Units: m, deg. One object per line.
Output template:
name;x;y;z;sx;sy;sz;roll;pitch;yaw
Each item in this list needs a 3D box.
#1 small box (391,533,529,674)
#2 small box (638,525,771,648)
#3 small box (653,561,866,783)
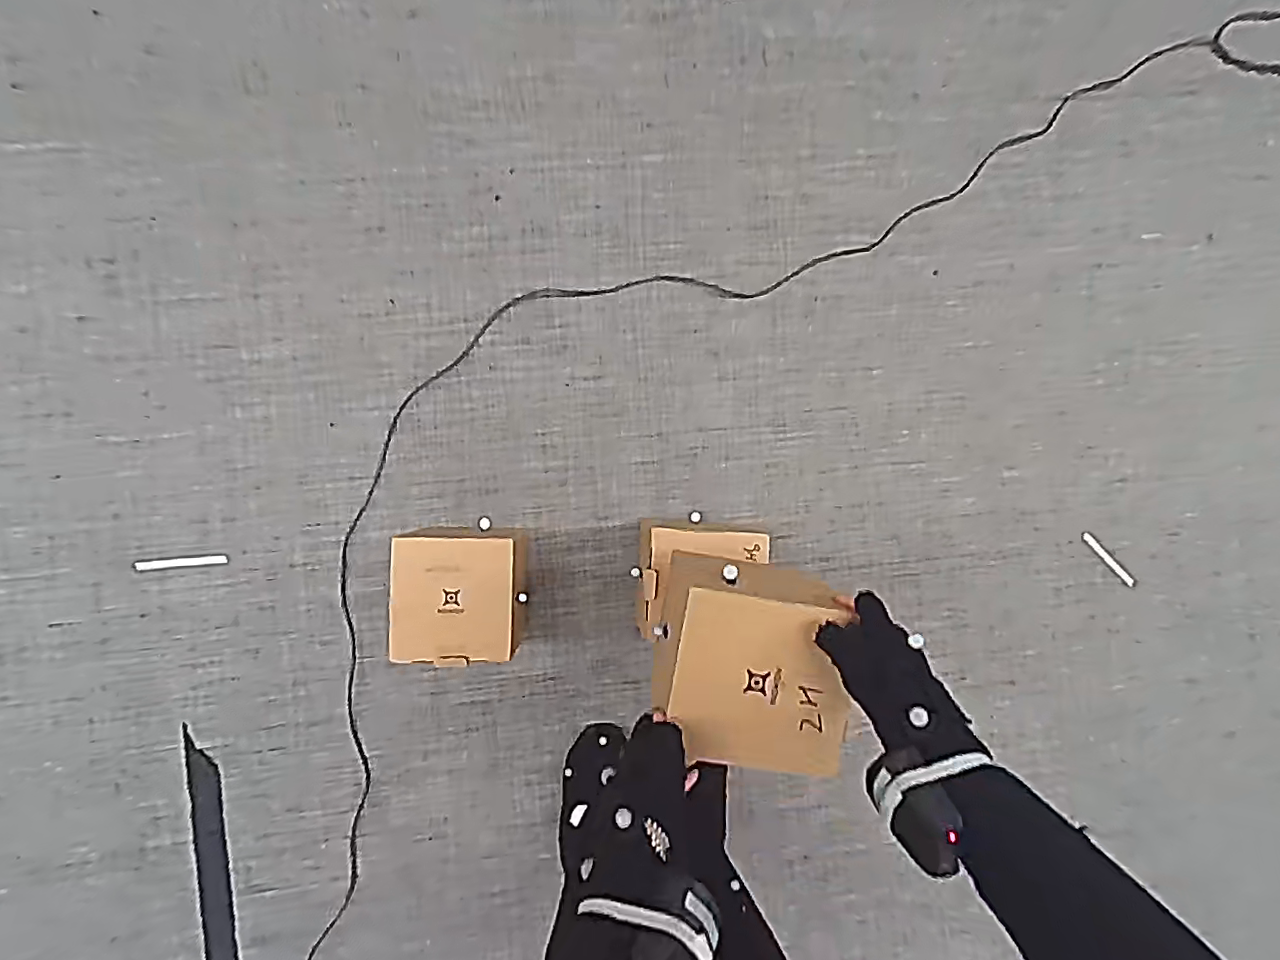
small box;-0.262;0.179;0.822;0.168;0.176;0.179;1;90;-5
small box;0.091;0.163;0.850;0.179;0.176;0.168;4;90;-5
small box;0.113;0.192;0.591;0.179;0.176;0.168;9;95;-3
